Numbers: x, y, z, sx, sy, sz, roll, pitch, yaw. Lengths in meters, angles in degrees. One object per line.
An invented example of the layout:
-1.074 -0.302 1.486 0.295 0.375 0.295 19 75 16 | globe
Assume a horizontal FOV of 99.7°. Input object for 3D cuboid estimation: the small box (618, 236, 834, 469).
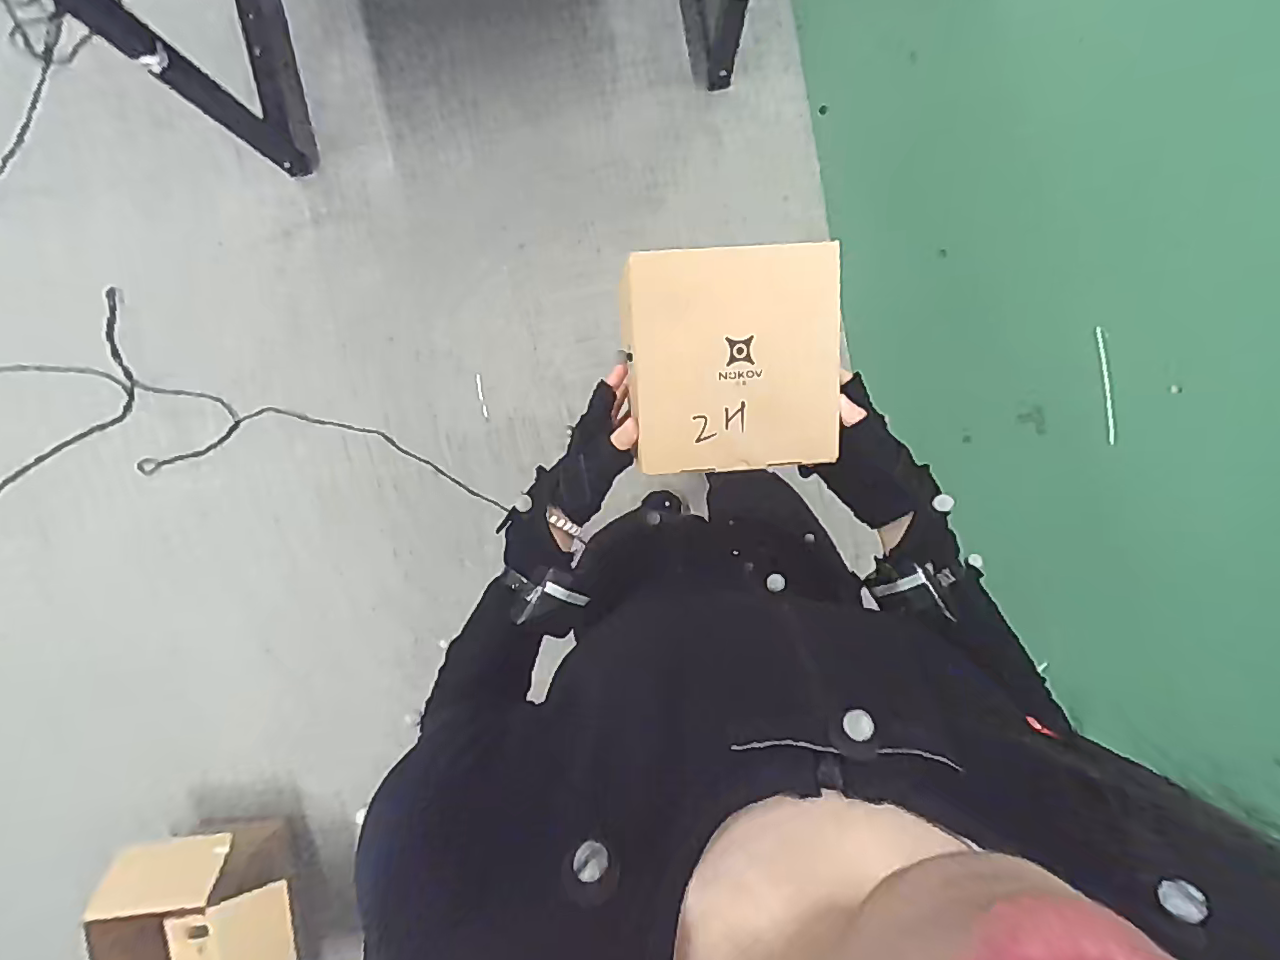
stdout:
0.068 -0.112 0.507 0.168 0.176 0.179 -4 101 -3 | small box
